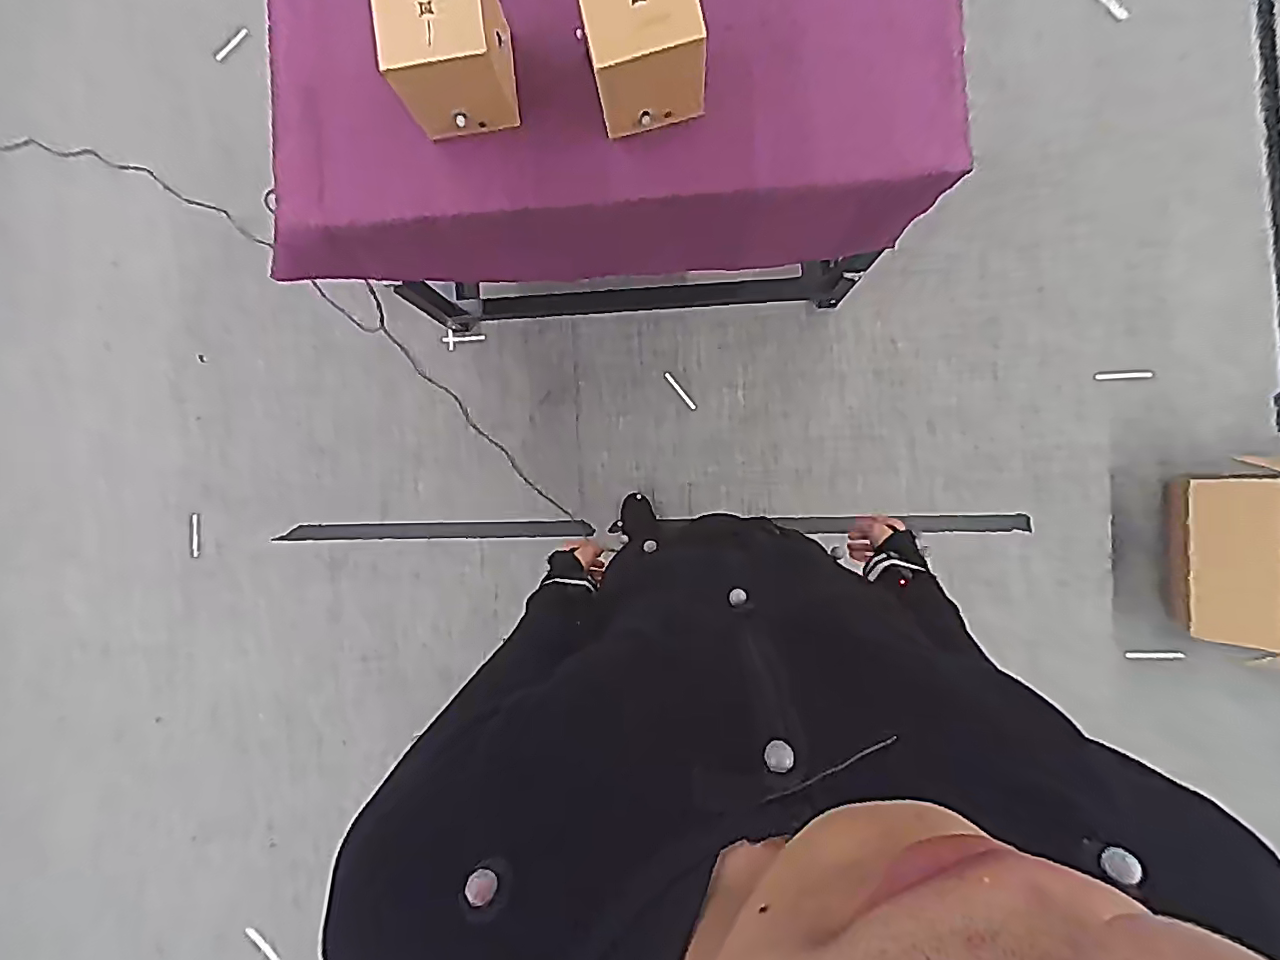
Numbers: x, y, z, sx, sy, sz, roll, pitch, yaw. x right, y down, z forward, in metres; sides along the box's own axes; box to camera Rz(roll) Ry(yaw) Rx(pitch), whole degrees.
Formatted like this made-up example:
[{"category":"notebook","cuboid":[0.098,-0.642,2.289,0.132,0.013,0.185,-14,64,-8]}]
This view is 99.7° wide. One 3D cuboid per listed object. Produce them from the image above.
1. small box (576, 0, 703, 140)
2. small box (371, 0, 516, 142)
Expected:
[{"category":"small box","cuboid":[-0.003,-0.686,0.850,0.168,0.176,0.179,-13,88,5]},{"category":"small box","cuboid":[-0.308,-0.691,0.871,0.168,0.176,0.179,-7,89,4]}]
